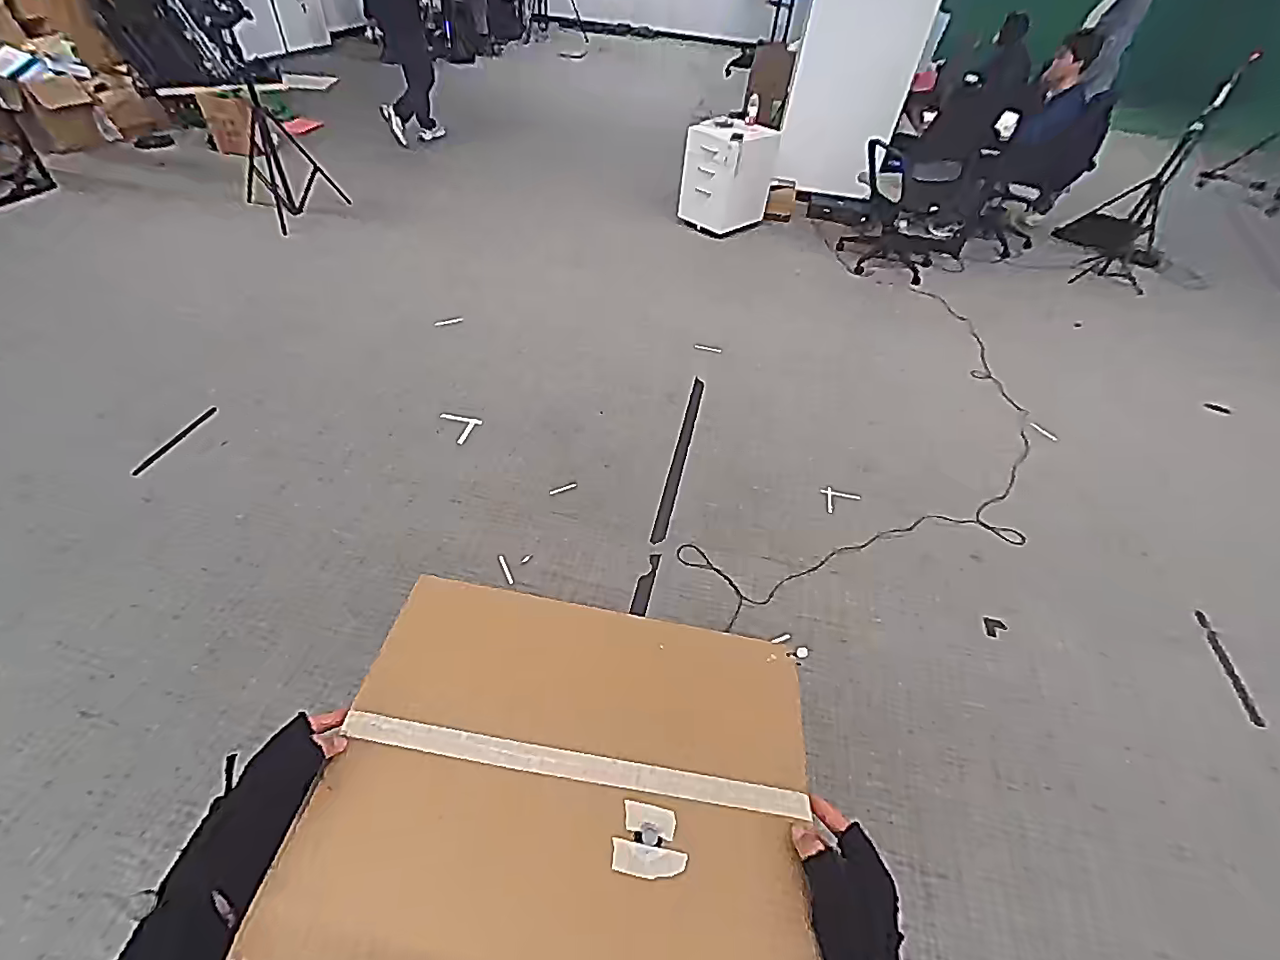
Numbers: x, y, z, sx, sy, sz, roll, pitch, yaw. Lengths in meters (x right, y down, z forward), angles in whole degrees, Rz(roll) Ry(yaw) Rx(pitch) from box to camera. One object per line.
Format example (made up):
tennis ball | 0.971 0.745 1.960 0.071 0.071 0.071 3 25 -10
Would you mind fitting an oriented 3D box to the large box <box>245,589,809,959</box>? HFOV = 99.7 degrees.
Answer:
large box | -0.080 0.360 0.575 0.408 0.320 0.320 12 45 -1
